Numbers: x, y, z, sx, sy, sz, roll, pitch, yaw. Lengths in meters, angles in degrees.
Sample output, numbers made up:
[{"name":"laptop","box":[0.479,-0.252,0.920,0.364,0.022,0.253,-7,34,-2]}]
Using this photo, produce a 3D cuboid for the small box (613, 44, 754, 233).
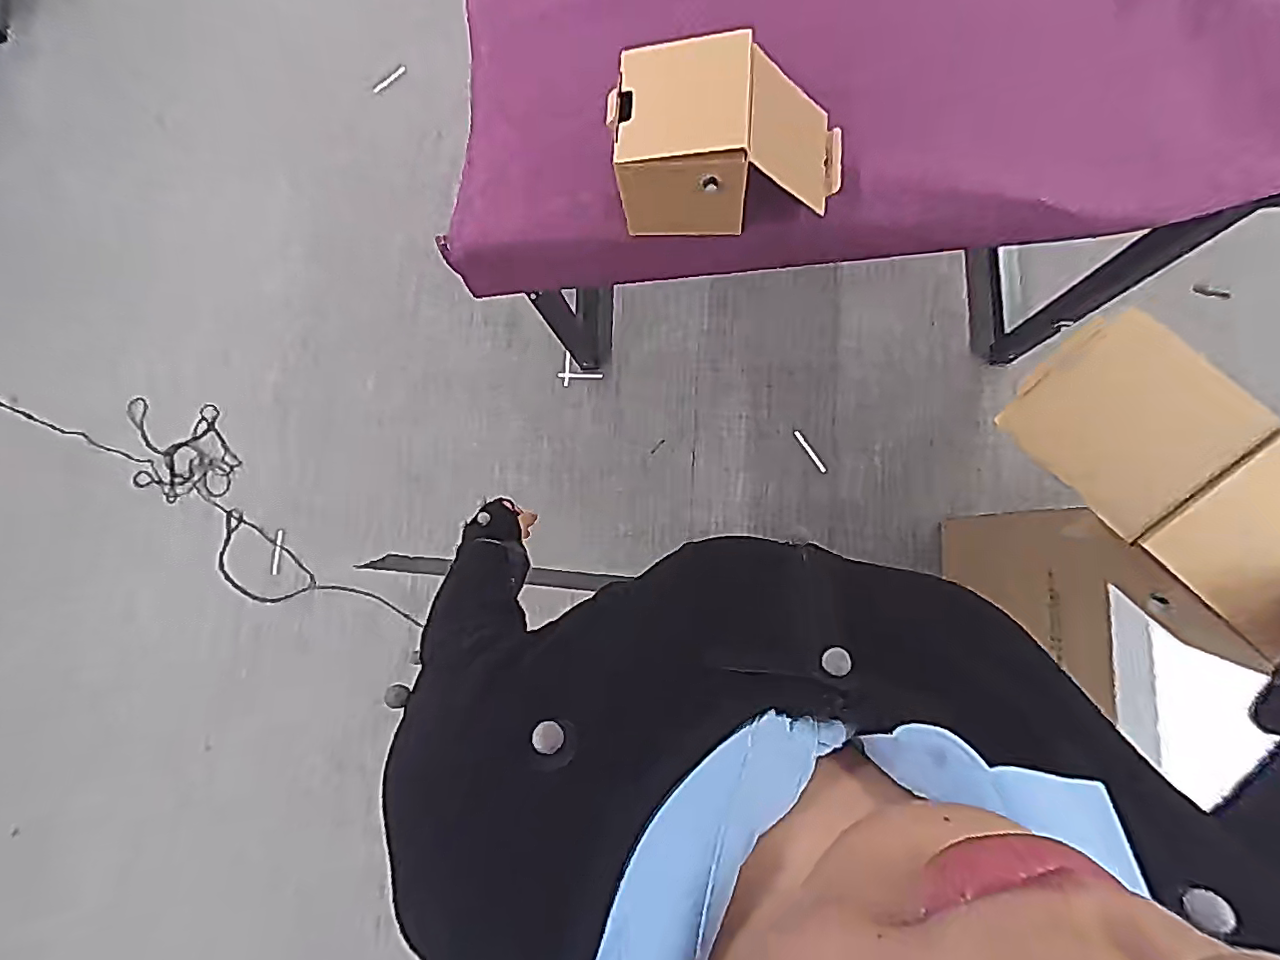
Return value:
[{"name":"small box","box":[0.066,-0.478,0.779,0.179,0.176,0.168,3,83,8]}]
